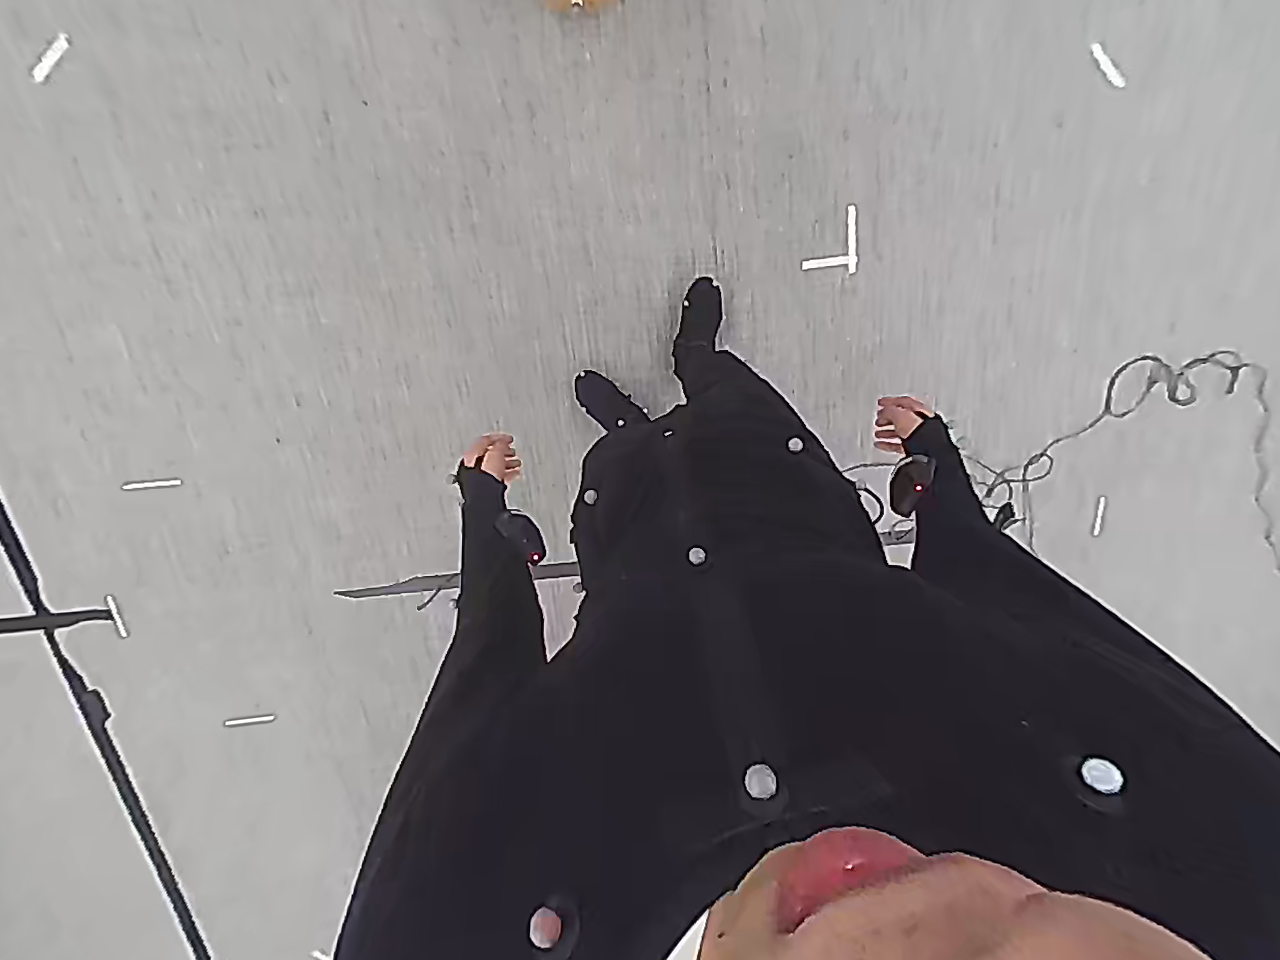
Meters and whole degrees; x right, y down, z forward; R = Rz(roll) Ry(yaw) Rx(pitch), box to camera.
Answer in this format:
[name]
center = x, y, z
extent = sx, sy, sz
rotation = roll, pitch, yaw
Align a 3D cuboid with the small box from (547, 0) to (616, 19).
[small box]
center = -0.143, -1.182, 1.205
extent = 0.168, 0.176, 0.179
rotation = -9, 107, -2
